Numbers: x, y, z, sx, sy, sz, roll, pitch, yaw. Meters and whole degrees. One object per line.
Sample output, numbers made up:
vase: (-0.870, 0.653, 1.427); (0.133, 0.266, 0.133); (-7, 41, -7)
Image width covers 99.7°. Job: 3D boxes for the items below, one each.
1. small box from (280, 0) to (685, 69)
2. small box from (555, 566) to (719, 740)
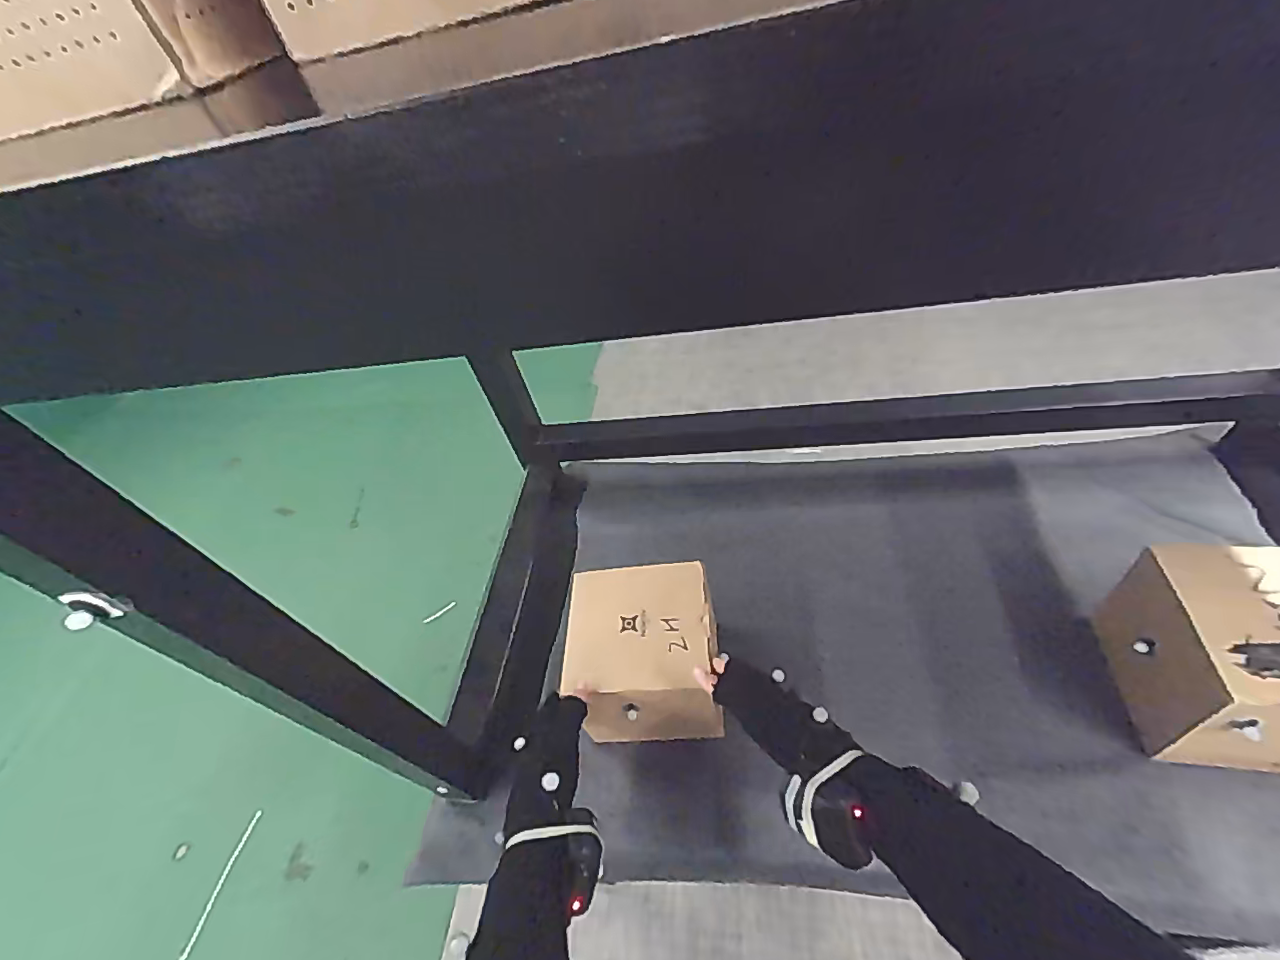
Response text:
small box: (-0.040, -0.246, 0.156); (0.168, 0.176, 0.179); (-4, 47, 11)
small box: (0.006, 0.232, 0.714); (0.179, 0.176, 0.168); (-6, 48, 9)
